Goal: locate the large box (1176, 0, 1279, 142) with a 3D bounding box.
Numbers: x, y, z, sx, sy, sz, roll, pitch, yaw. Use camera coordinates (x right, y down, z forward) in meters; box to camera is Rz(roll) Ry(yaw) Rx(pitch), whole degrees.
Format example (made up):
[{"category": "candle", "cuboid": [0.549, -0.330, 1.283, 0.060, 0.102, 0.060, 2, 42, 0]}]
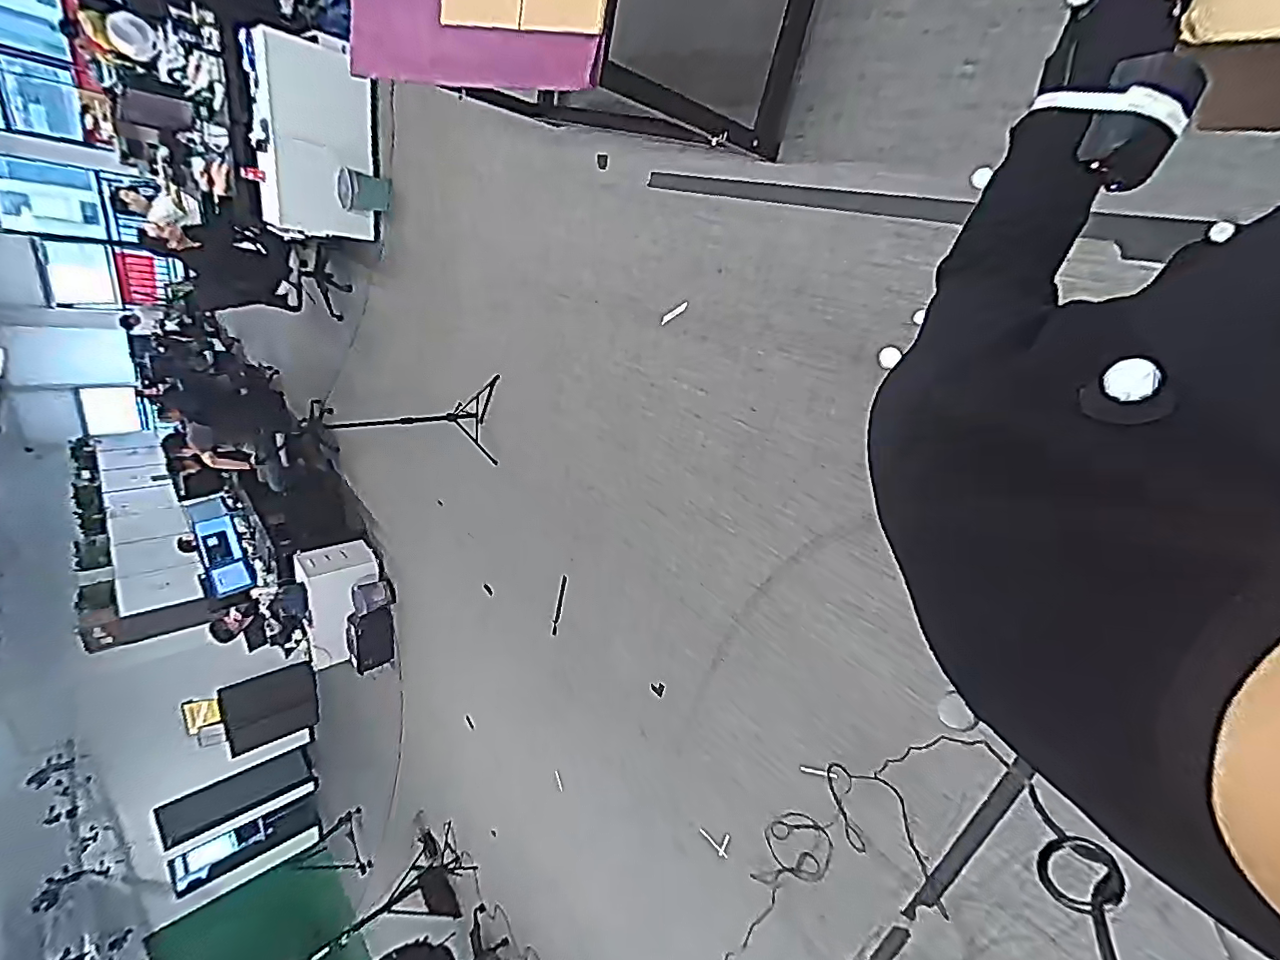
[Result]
[{"category": "large box", "cuboid": [0.619, -0.385, 0.282, 0.408, 0.320, 0.320, 29, 124, 38]}]
